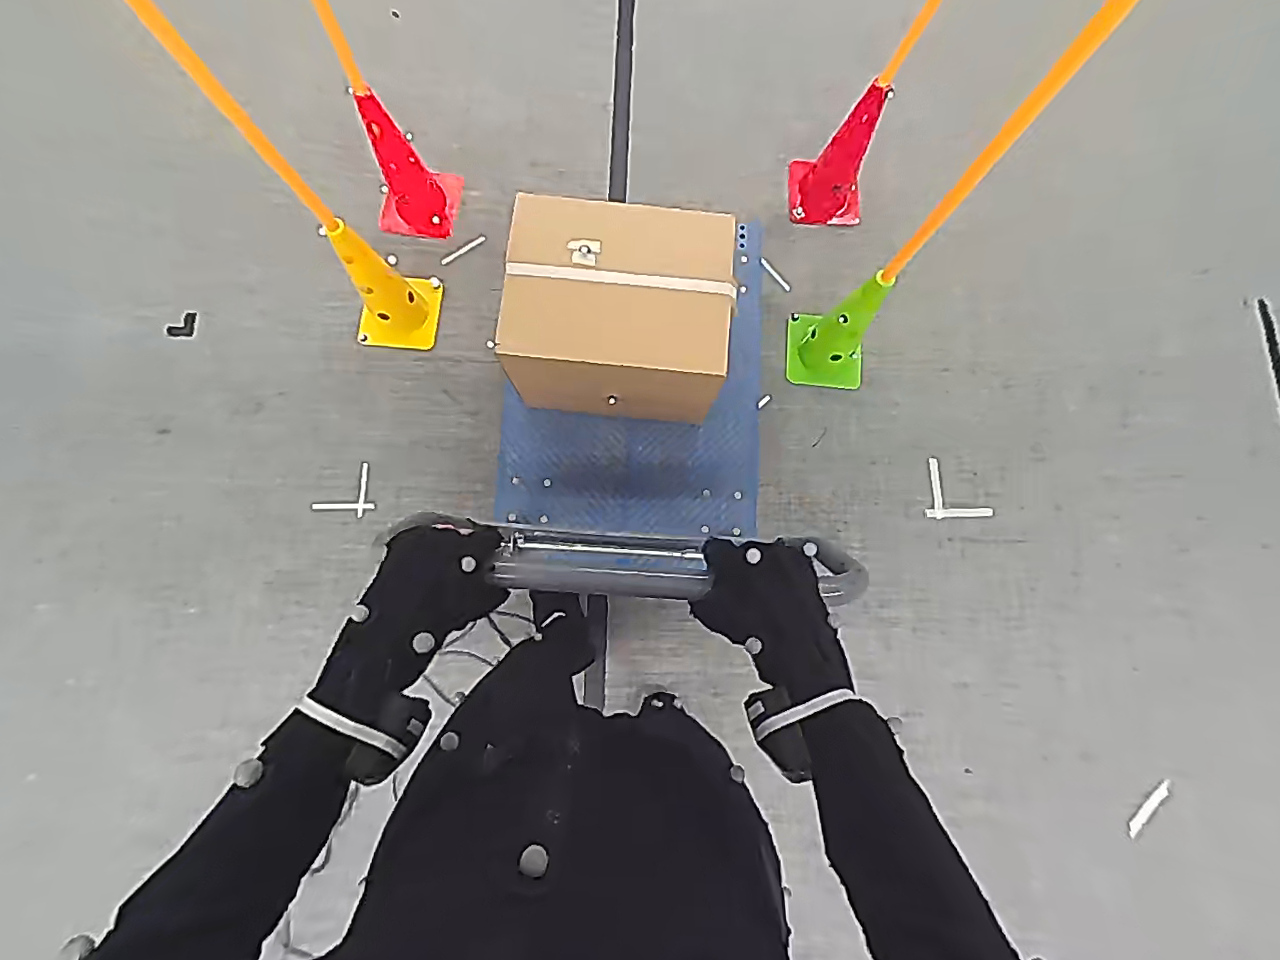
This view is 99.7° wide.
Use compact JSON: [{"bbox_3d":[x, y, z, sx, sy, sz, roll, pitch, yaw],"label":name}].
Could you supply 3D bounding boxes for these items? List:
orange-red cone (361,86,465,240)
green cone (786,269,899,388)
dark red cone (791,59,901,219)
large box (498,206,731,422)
[{"bbox_3d":[-0.596,-0.804,1.342,0.198,0.360,0.199,9,78,-1],"label":"orange-red cone"},{"bbox_3d":[0.502,-0.380,1.288,0.202,0.368,0.200,6,79,-2],"label":"green cone"},{"bbox_3d":[0.536,-0.859,1.362,0.201,0.394,0.202,2,80,-3],"label":"dark red cone"},{"bbox_3d":[-0.041,-0.316,1.117,0.408,0.320,0.320,6,80,0],"label":"large box"}]
